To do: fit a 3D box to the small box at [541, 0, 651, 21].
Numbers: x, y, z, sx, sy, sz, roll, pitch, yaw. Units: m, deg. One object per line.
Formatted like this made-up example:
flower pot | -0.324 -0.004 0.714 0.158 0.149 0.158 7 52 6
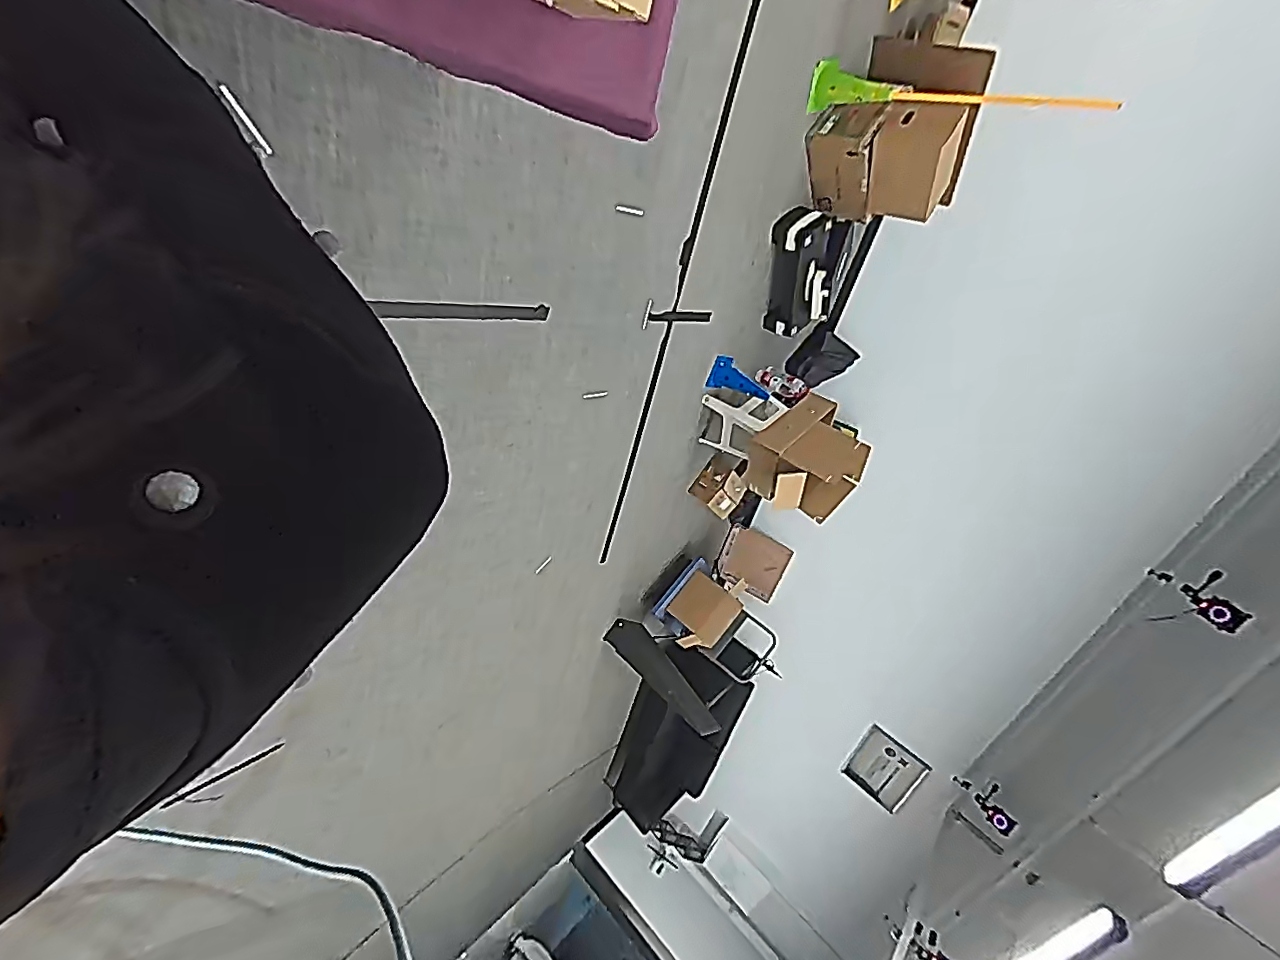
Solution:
small box | -0.084 -0.759 0.728 0.168 0.176 0.179 -21 136 -45
